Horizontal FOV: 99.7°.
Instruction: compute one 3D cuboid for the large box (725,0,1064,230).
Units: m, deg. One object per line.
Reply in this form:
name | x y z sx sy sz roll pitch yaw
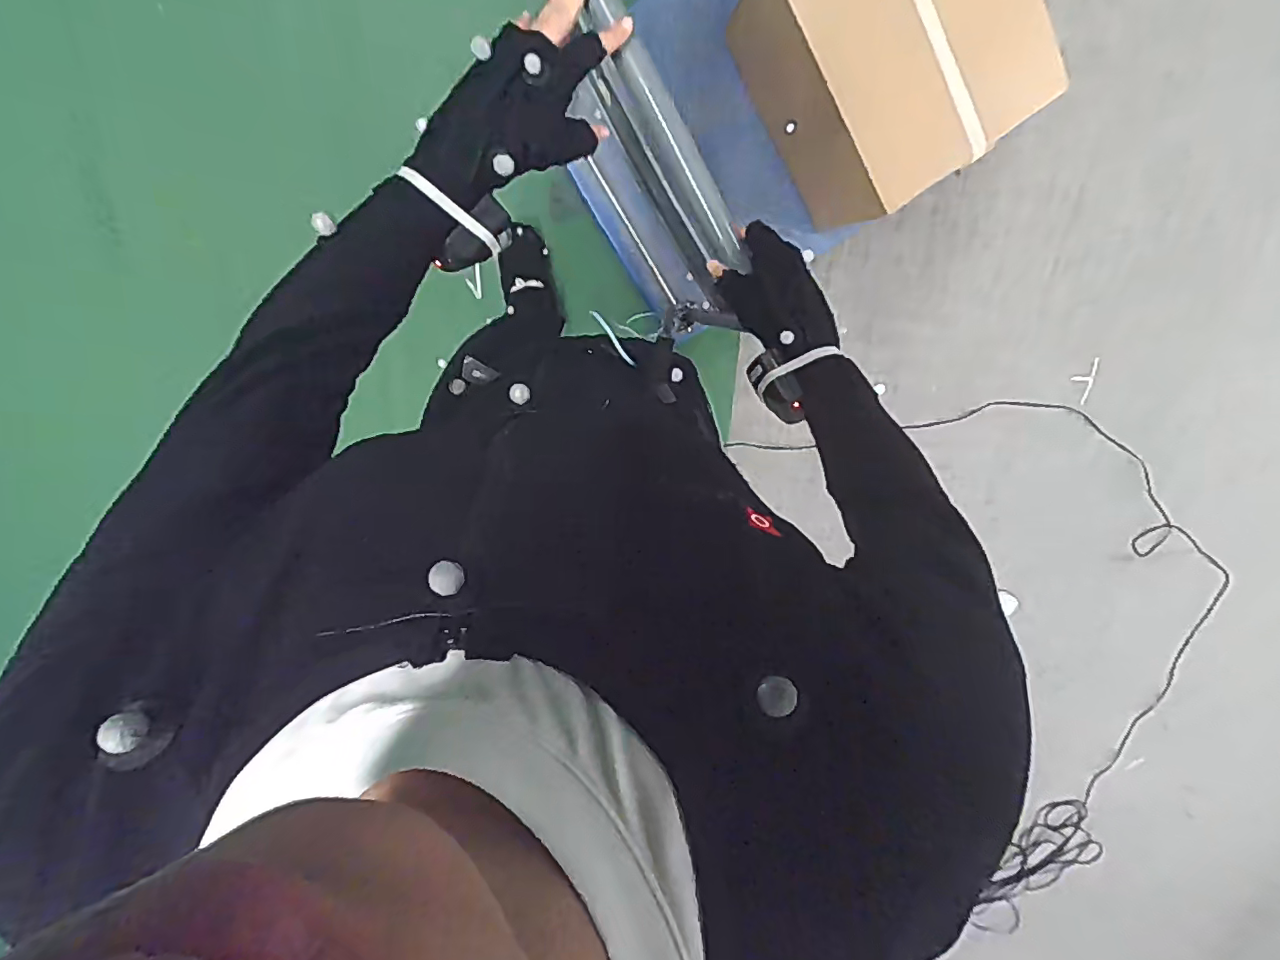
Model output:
large box | 0.397 -0.707 0.920 0.320 0.320 0.408 -34 107 9
